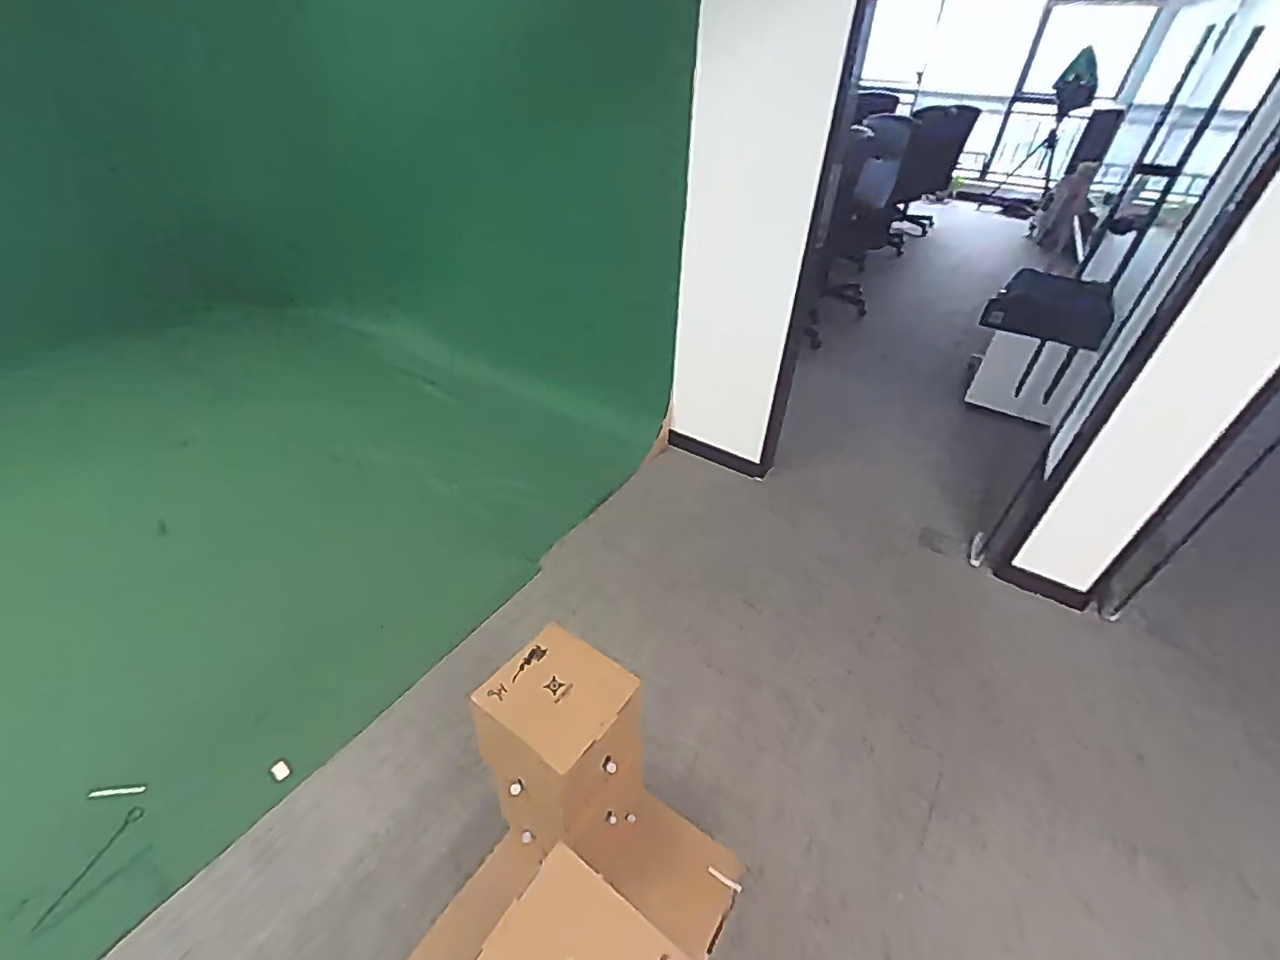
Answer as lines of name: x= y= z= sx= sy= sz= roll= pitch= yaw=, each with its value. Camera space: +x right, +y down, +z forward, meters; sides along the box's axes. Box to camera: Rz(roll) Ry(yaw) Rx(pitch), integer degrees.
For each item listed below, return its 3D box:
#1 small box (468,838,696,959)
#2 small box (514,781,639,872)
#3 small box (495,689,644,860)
small box: x=-0.064 y=0.497 z=0.513 sx=0.179 sy=0.176 sz=0.168 roll=27 pitch=46 yaw=23
small box: x=-0.121 y=0.616 z=0.994 sx=0.168 sy=0.176 sz=0.179 roll=24 pitch=40 yaw=26
small box: x=-0.113 y=0.492 z=0.884 sx=0.168 sy=0.176 sz=0.179 roll=26 pitch=41 yaw=28
